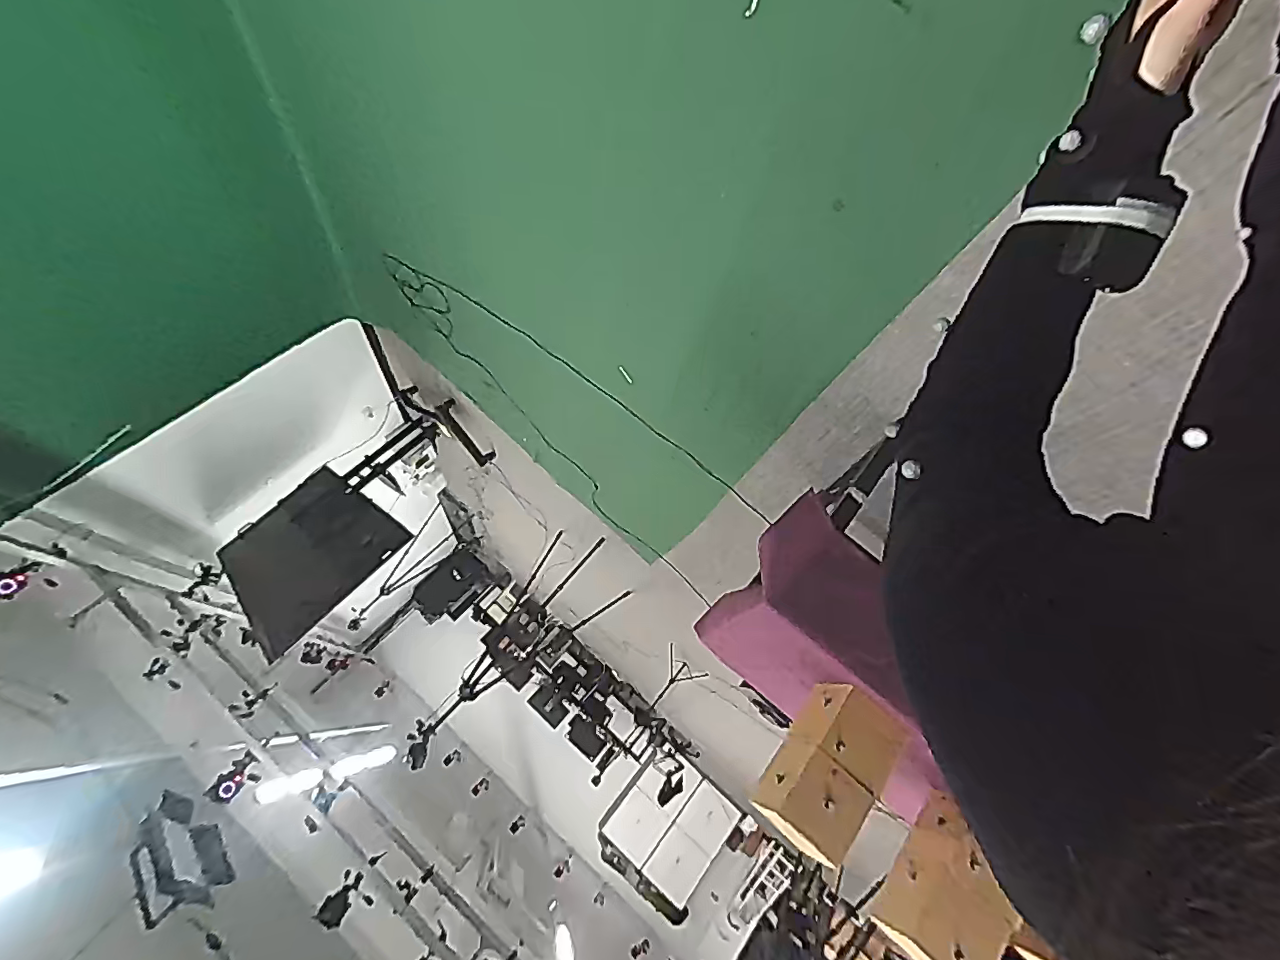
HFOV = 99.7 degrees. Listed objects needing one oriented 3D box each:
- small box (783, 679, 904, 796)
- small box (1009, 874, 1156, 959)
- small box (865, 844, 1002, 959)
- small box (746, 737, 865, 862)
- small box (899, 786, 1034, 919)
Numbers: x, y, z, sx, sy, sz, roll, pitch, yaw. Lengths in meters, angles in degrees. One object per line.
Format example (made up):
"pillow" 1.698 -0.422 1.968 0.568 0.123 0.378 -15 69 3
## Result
"small box" 0.485 0.604 1.290 0.179 0.176 0.168 43 156 3
"small box" 0.983 1.037 1.201 0.179 0.176 0.168 44 156 3
"small box" 0.648 0.959 1.196 0.179 0.176 0.168 41 156 9
"small box" 0.377 0.710 1.225 0.168 0.176 0.179 42 156 7
"small box" 0.755 0.849 1.255 0.179 0.176 0.168 42 157 7
